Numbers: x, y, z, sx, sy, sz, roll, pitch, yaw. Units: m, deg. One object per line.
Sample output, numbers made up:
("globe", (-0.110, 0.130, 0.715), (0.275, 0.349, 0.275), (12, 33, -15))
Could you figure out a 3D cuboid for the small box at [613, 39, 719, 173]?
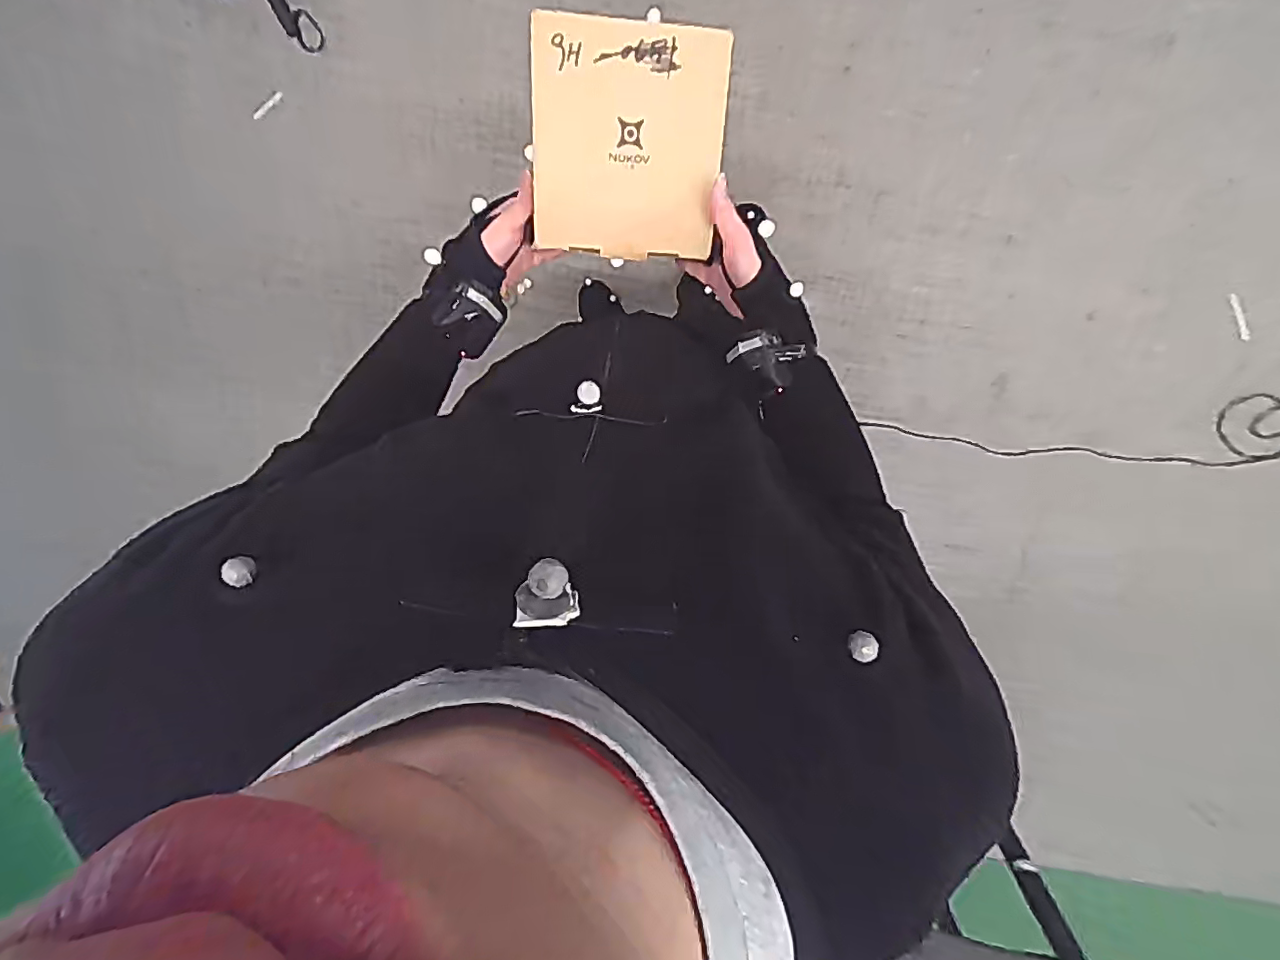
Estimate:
("small box", (0.061, -0.797, 1.178), (0.168, 0.176, 0.179), (-25, 110, 14))
